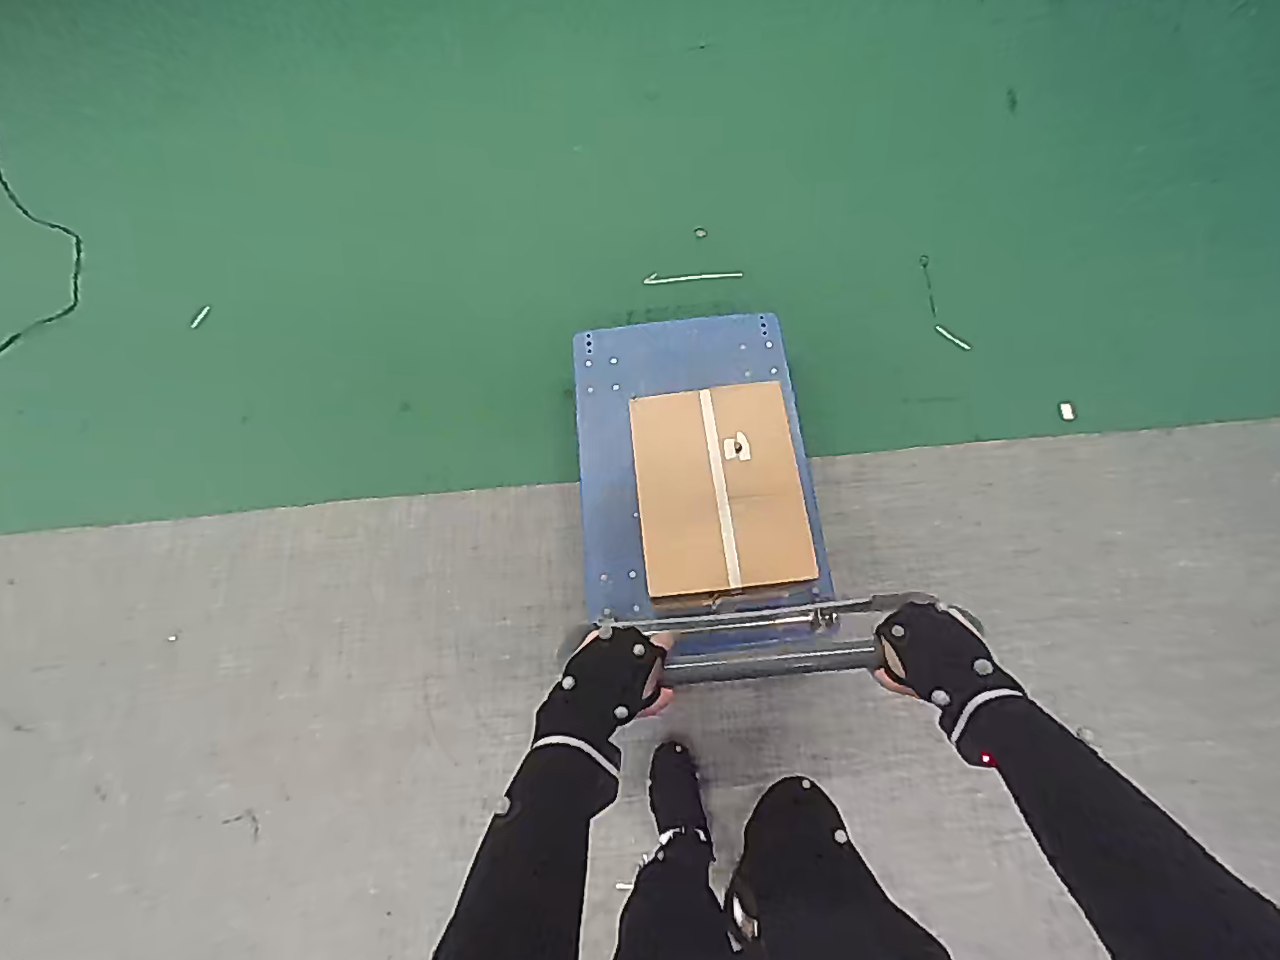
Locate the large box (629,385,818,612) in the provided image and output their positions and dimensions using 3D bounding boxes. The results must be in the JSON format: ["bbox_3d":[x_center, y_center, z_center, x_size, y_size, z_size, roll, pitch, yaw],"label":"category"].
[{"bbox_3d":[0.160,0.057,1.185,0.320,0.320,0.408,-6,71,1],"label":"large box"}]
